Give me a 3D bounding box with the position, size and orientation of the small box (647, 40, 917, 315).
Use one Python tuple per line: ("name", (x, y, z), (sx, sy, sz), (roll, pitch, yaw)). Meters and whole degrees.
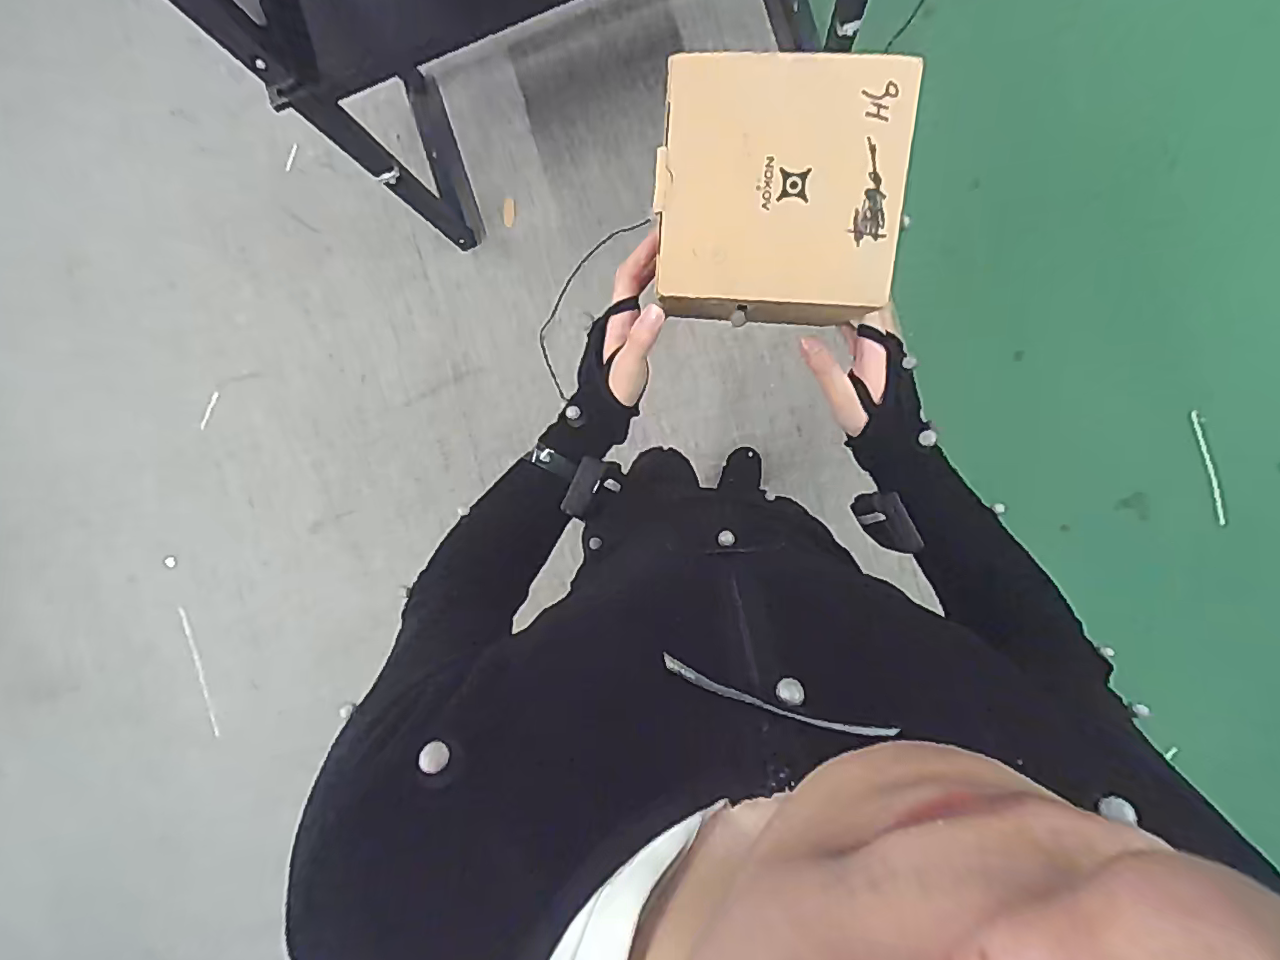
("small box", (0.107, -0.238, 0.468), (0.179, 0.176, 0.168), (5, 102, 6))
